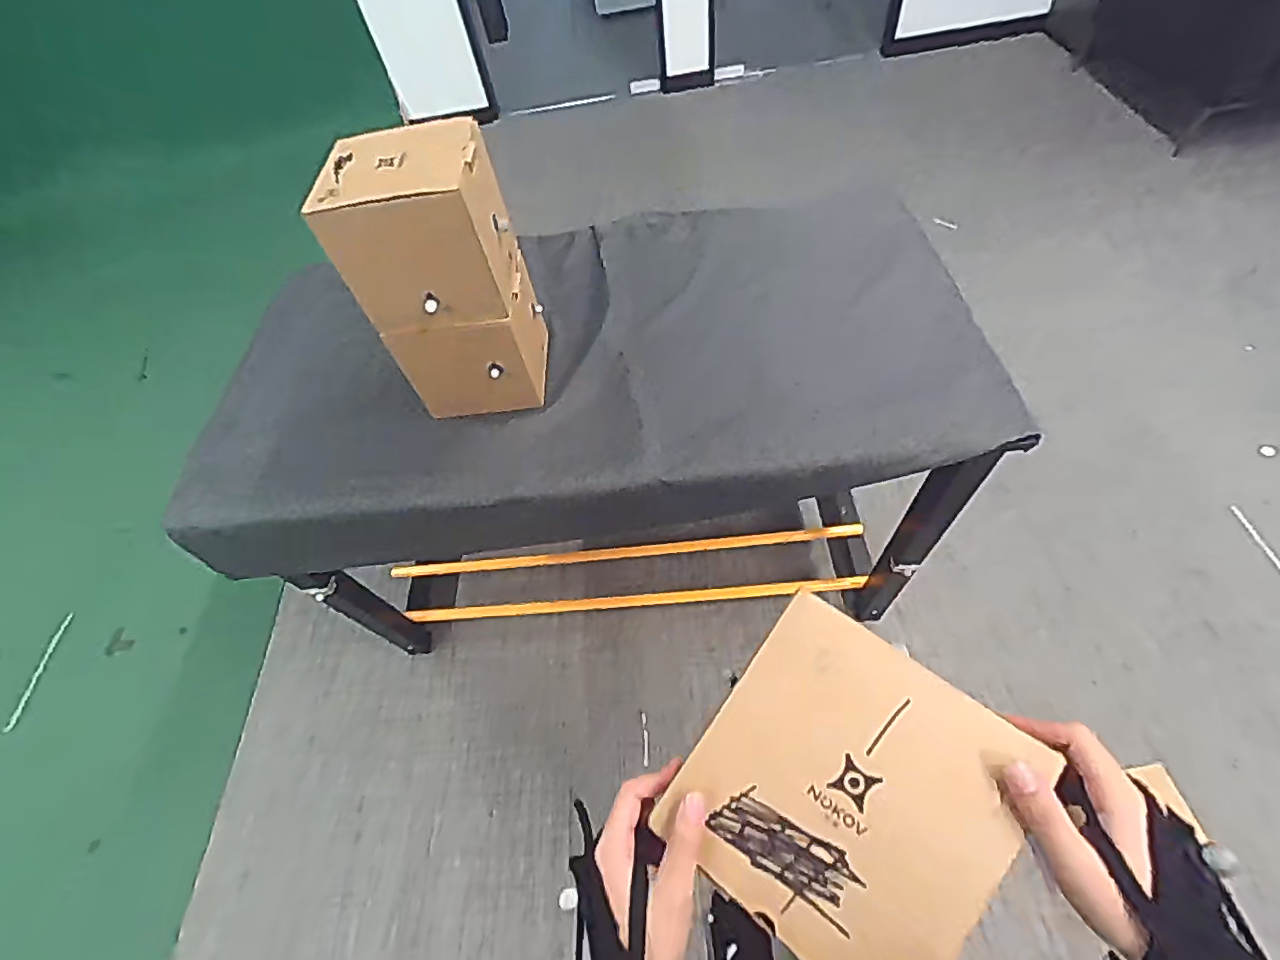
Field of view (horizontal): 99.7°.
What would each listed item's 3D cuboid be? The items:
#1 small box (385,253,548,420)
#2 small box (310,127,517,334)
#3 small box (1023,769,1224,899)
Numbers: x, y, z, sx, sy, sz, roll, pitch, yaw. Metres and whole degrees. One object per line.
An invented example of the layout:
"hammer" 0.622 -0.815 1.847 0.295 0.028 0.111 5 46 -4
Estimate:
"small box" -0.243 -0.209 0.812 0.179 0.176 0.168 -6 54 4
"small box" -0.263 -0.307 0.681 0.179 0.176 0.168 -6 55 3
"small box" 0.851 0.635 0.977 0.179 0.176 0.168 -11 55 0
